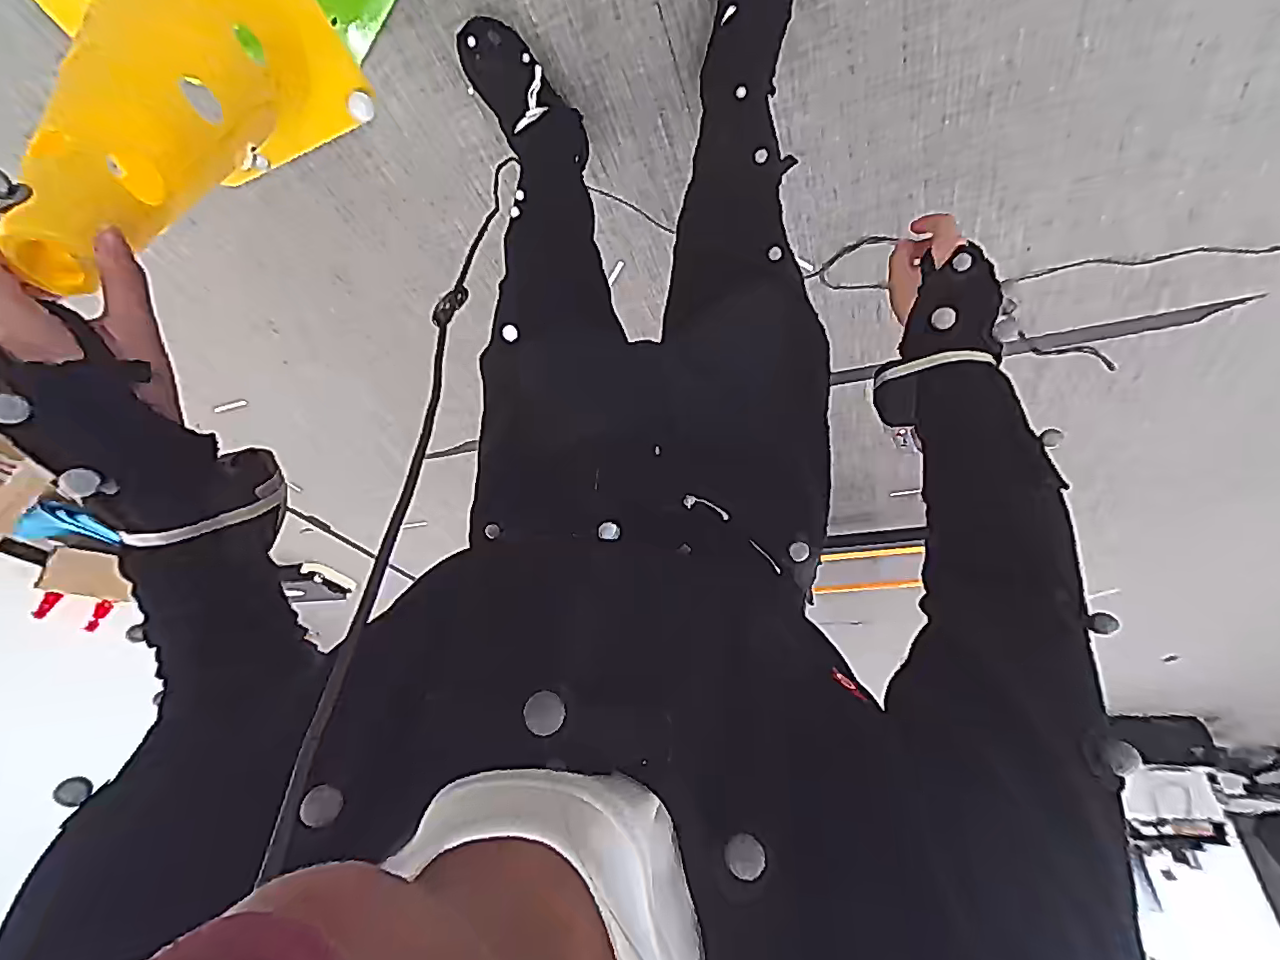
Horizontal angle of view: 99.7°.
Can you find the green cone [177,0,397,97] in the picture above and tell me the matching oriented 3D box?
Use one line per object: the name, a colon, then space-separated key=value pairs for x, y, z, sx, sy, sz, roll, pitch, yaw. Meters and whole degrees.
green cone: x=-0.497 y=-0.609 z=0.710 sx=0.200 sy=0.368 sz=0.202 roll=-24 pitch=137 yaw=38
